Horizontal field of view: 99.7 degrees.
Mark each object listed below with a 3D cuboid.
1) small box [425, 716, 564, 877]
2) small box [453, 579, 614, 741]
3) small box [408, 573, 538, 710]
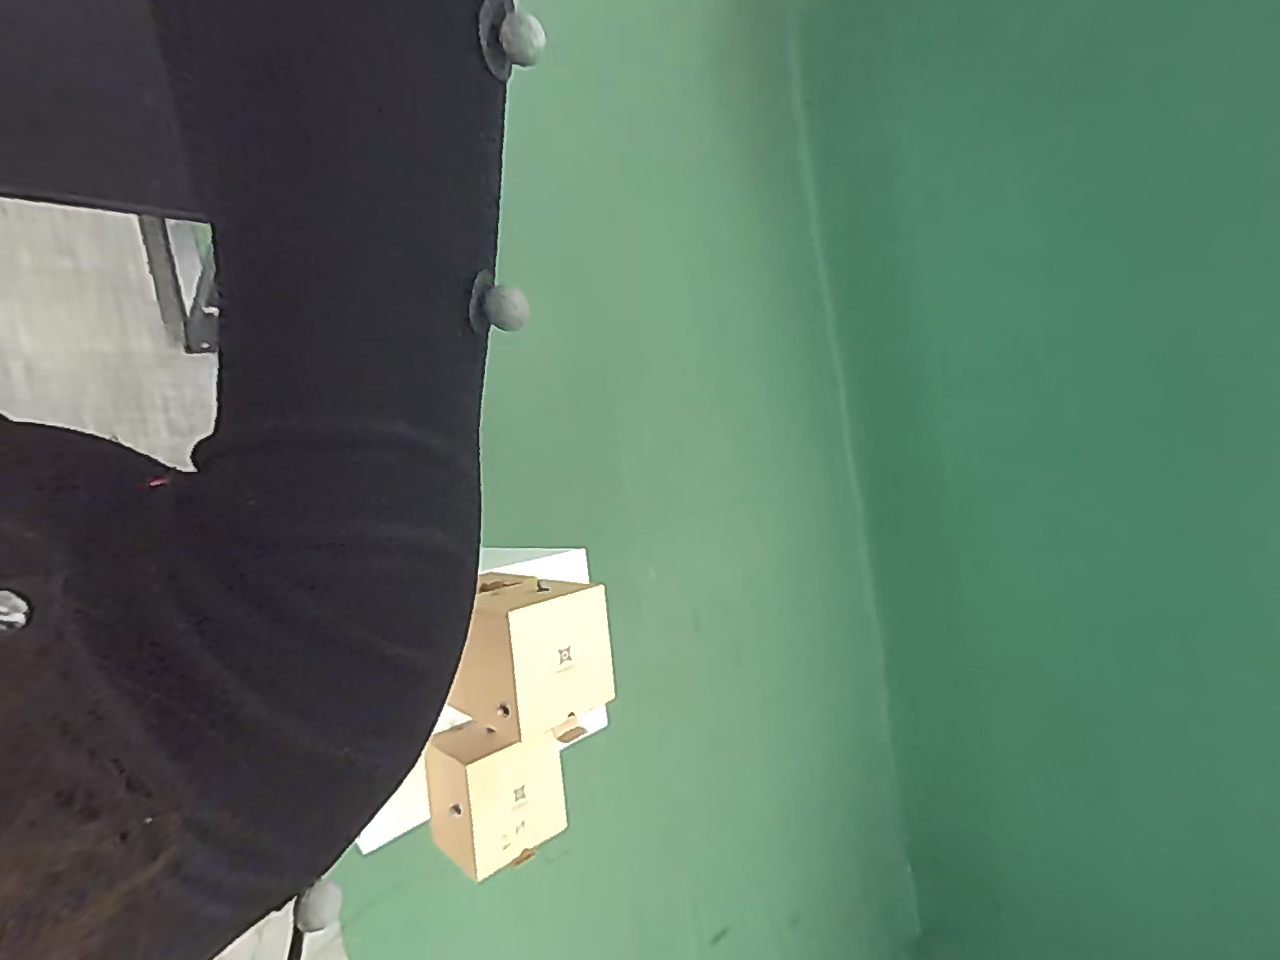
[{"bbox_3d":[-0.249,0.508,0.915,0.168,0.176,0.179,-4,88,-43],"label":"small box"},{"bbox_3d":[-0.161,0.249,0.803,0.168,0.176,0.179,-8,93,-45],"label":"small box"},{"bbox_3d":[-0.276,0.259,0.919,0.168,0.176,0.179,-9,93,-44],"label":"small box"}]
